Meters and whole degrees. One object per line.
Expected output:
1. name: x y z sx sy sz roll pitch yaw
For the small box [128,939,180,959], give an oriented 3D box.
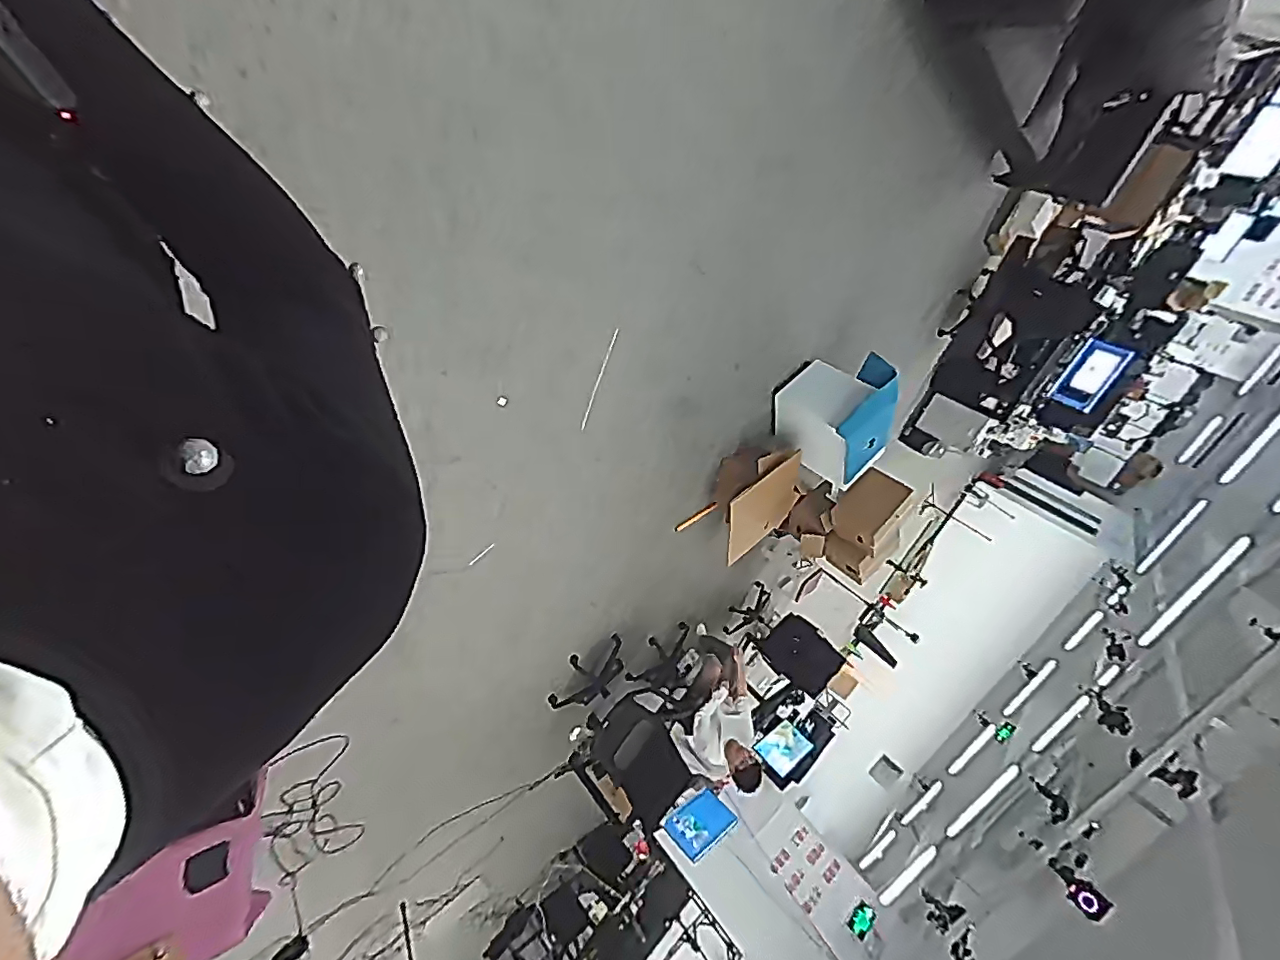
1. small box: -1.145 1.205 1.229 0.168 0.176 0.179 -10 130 -45
